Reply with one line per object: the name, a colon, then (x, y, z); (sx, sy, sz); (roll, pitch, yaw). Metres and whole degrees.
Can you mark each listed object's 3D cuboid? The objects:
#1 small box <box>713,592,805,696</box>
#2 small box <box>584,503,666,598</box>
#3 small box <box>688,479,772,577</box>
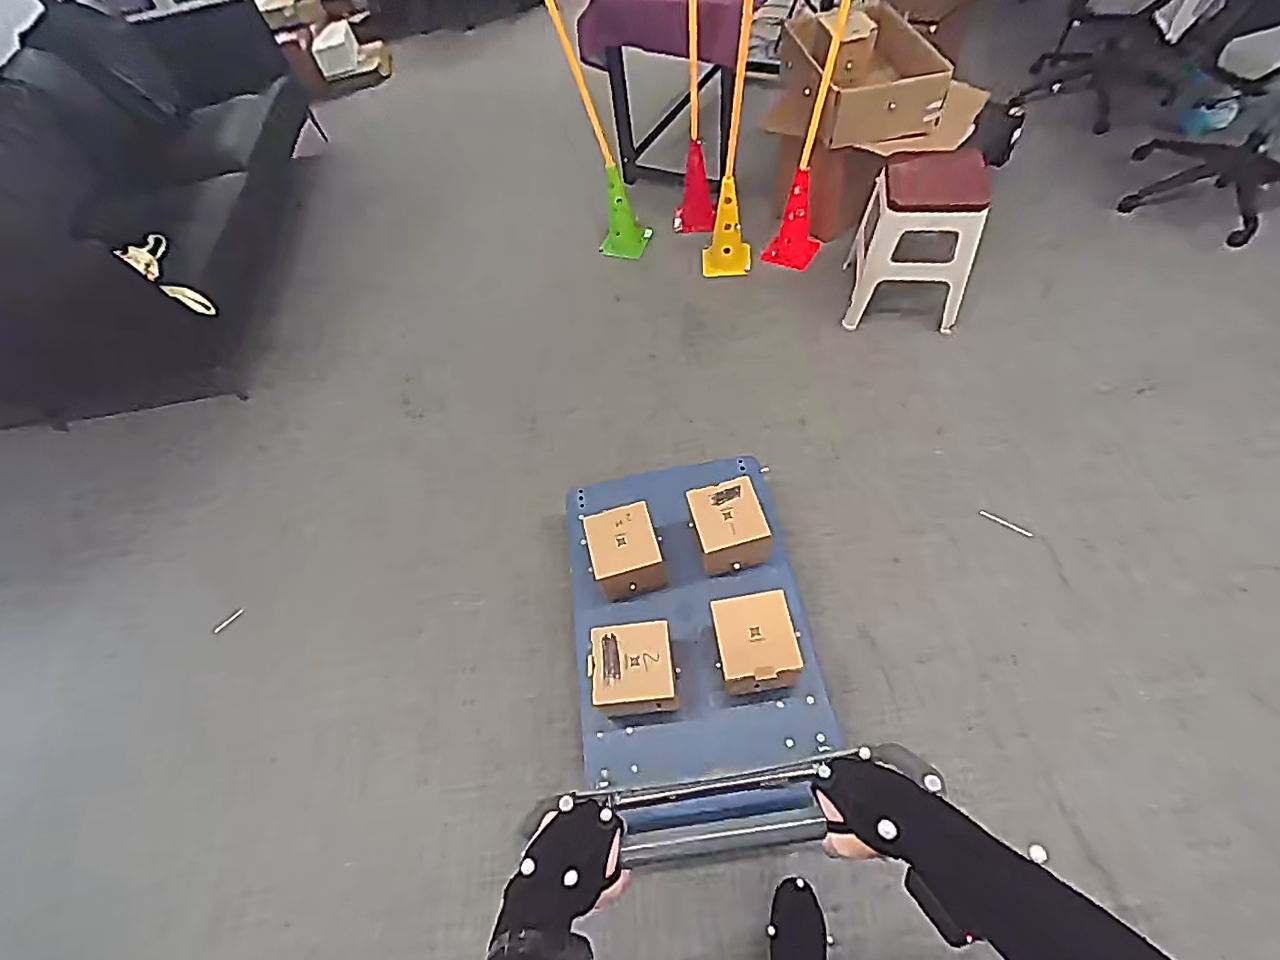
small box: (0.261, 0.377, 1.235); (0.168, 0.176, 0.179); (-10, 59, 2)
small box: (-0.034, 0.190, 1.390); (0.168, 0.176, 0.179); (-15, 58, -2)
small box: (0.226, 0.127, 1.389); (0.168, 0.176, 0.179); (-15, 59, 0)
